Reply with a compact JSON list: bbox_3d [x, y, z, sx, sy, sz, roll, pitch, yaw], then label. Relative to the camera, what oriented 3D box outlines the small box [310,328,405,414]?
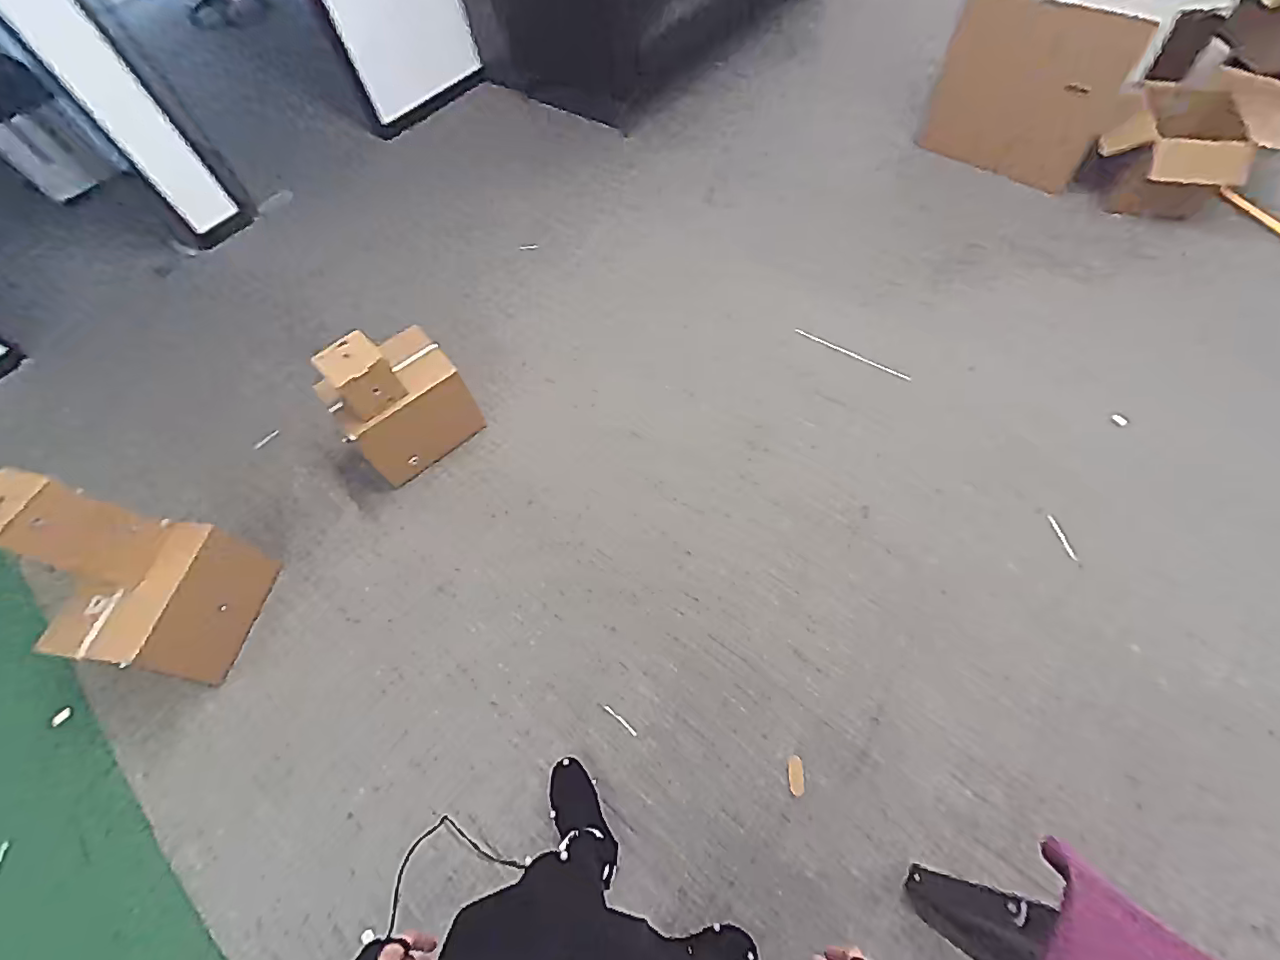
[{"bbox_3d":[-0.872,-0.330,1.684,0.168,0.176,0.179,-41,65,-17],"label":"small box"}]

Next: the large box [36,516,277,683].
[{"bbox_3d":[-1.401,0.358,1.619,0.320,0.320,0.408,4,61,9],"label":"large box"}]

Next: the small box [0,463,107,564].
[{"bbox_3d":[-1.477,0.085,1.311,0.168,0.176,0.179,10,61,12],"label":"small box"}]
